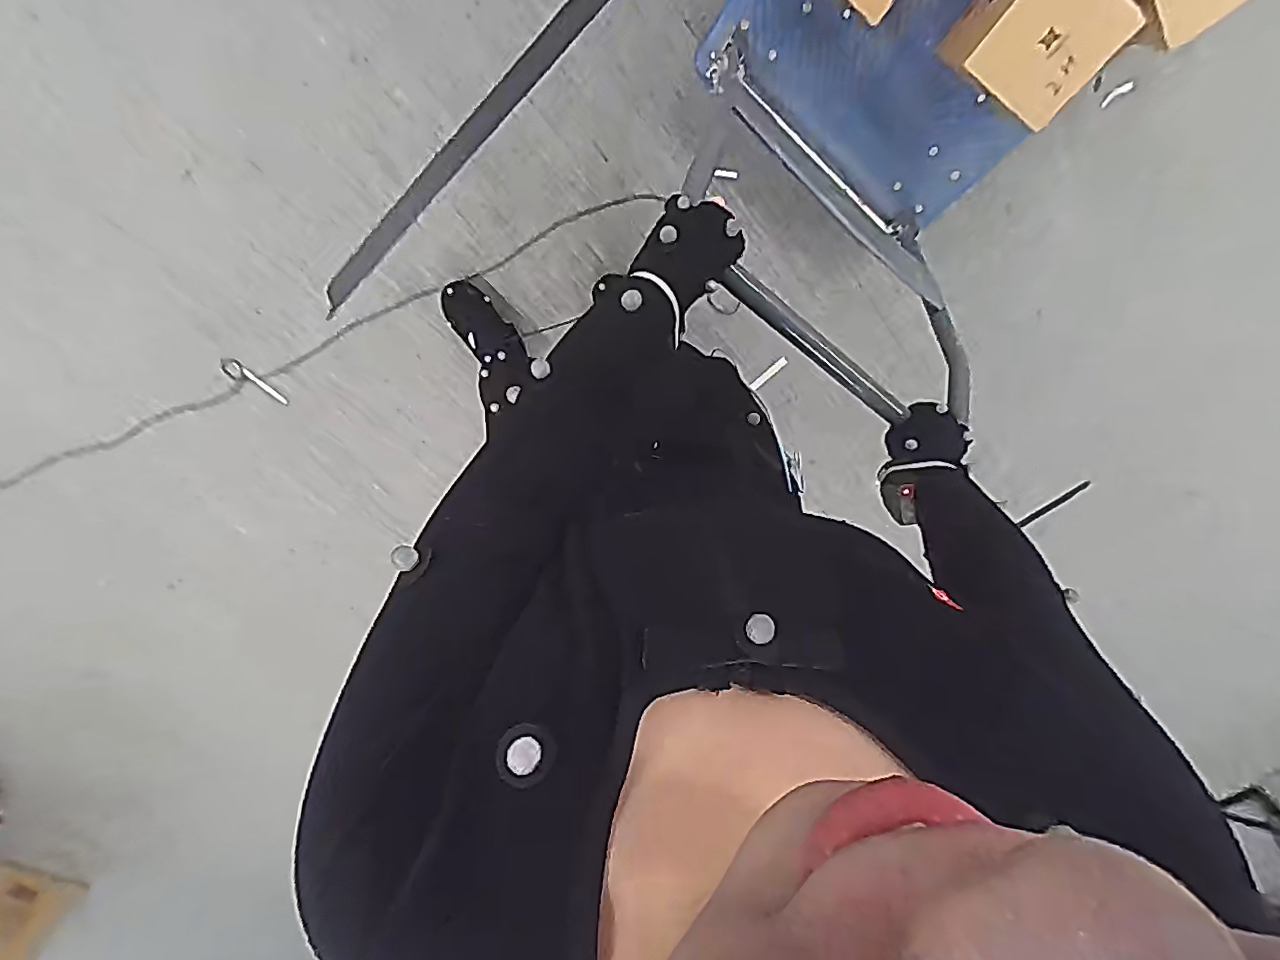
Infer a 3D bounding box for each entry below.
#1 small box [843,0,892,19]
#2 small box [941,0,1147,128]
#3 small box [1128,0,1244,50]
[{"bbox_3d":[0.330,-0.818,0.779,0.179,0.176,0.168,28,132,-20],"label":"small box"},{"bbox_3d":[0.611,-0.699,0.845,0.179,0.176,0.168,27,133,-16],"label":"small box"},{"bbox_3d":[0.782,-0.760,0.754,0.179,0.176,0.168,-31,122,34],"label":"small box"}]
